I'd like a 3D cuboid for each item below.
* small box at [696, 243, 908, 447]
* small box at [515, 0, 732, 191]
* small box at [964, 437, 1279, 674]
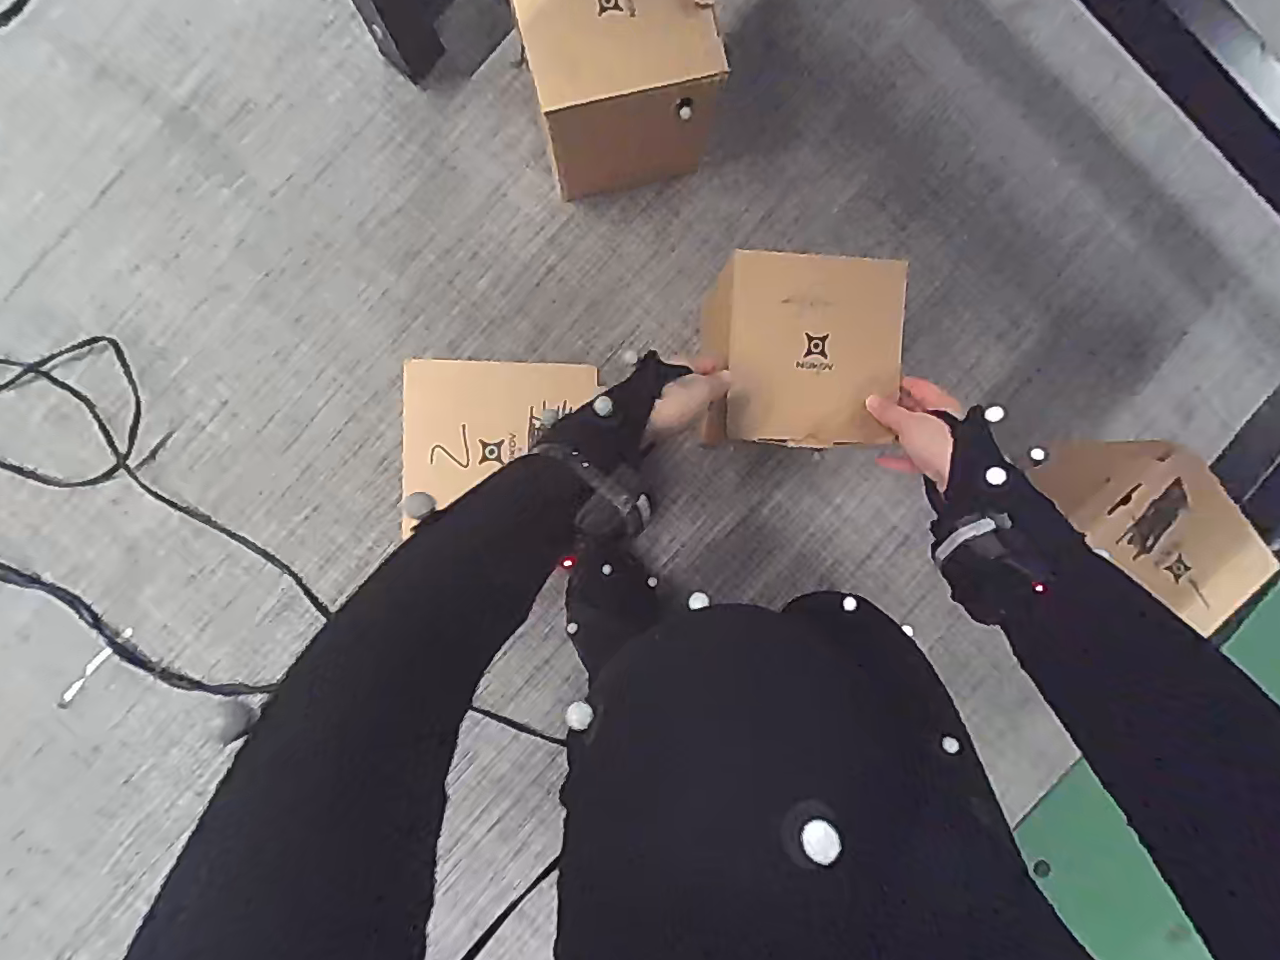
[{"bbox_3d":[0.156,-0.126,0.575,0.168,0.176,0.179,3,91,-4],"label":"small box"},{"bbox_3d":[-0.024,-0.429,0.555,0.179,0.176,0.168,-15,93,-3],"label":"small box"},{"bbox_3d":[0.514,0.071,0.602,0.168,0.176,0.179,-42,95,0],"label":"small box"}]
